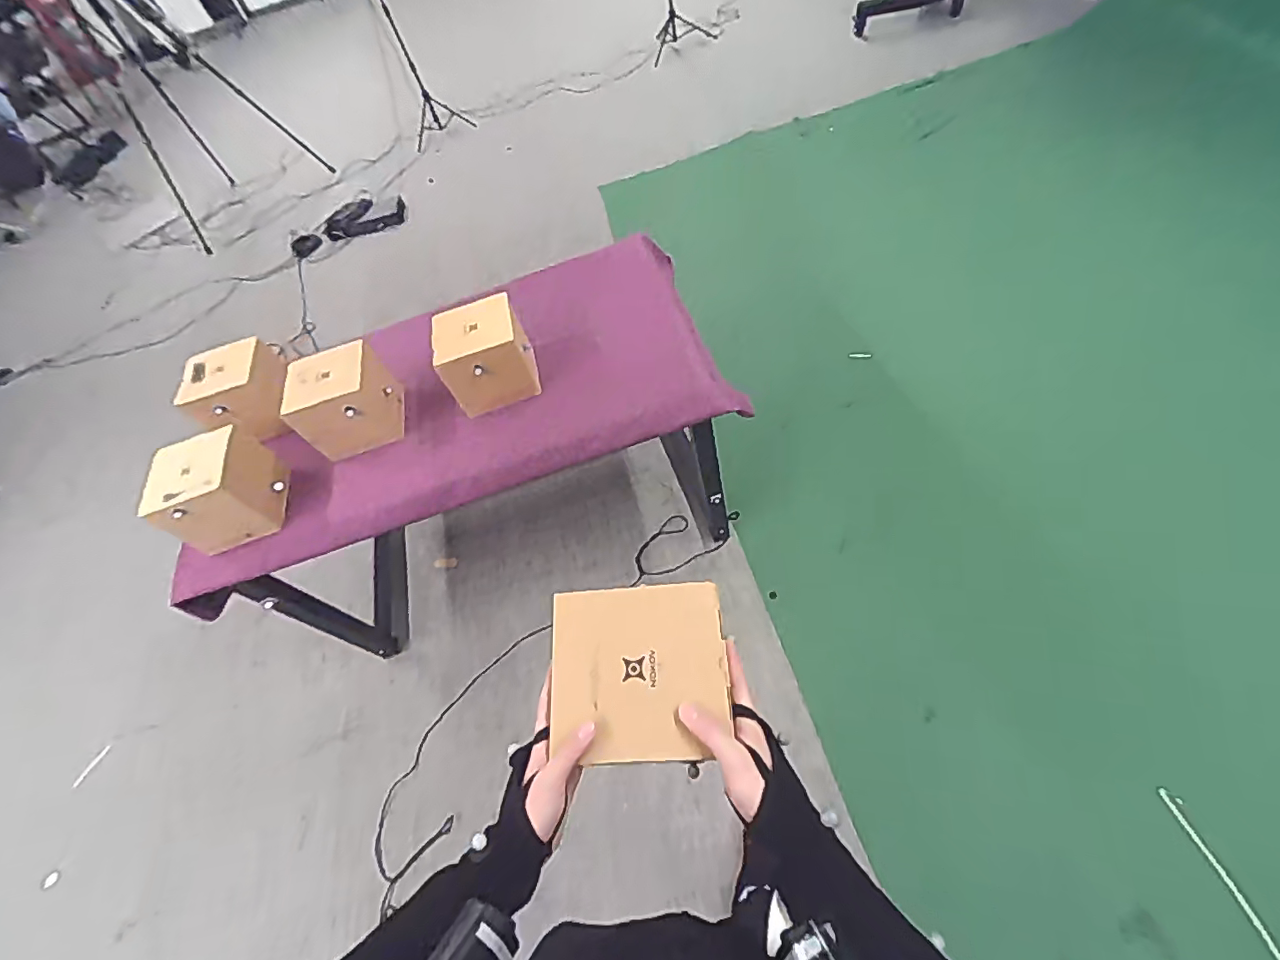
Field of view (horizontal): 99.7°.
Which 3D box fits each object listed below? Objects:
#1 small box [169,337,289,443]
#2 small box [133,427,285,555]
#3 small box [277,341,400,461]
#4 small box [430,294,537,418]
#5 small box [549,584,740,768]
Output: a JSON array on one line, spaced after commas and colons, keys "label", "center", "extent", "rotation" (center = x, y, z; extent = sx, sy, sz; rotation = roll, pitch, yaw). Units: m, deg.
[{"label": "small box", "center": [-0.946, -0.201, 1.283], "extent": [0.179, 0.176, 0.168], "rotation": [-18, 56, 0]}, {"label": "small box", "center": [-0.873, 0.026, 1.117], "extent": [0.168, 0.176, 0.179], "rotation": [-20, 54, 0]}, {"label": "small box", "center": [-0.652, -0.169, 1.194], "extent": [0.179, 0.176, 0.168], "rotation": [-18, 55, 1]}, {"label": "small box", "center": [-0.336, -0.267, 1.187], "extent": [0.179, 0.176, 0.168], "rotation": [-19, 56, 3]}, {"label": "small box", "center": [0.010, 0.220, 0.593], "extent": [0.179, 0.176, 0.168], "rotation": [-5, 61, 6]}]
